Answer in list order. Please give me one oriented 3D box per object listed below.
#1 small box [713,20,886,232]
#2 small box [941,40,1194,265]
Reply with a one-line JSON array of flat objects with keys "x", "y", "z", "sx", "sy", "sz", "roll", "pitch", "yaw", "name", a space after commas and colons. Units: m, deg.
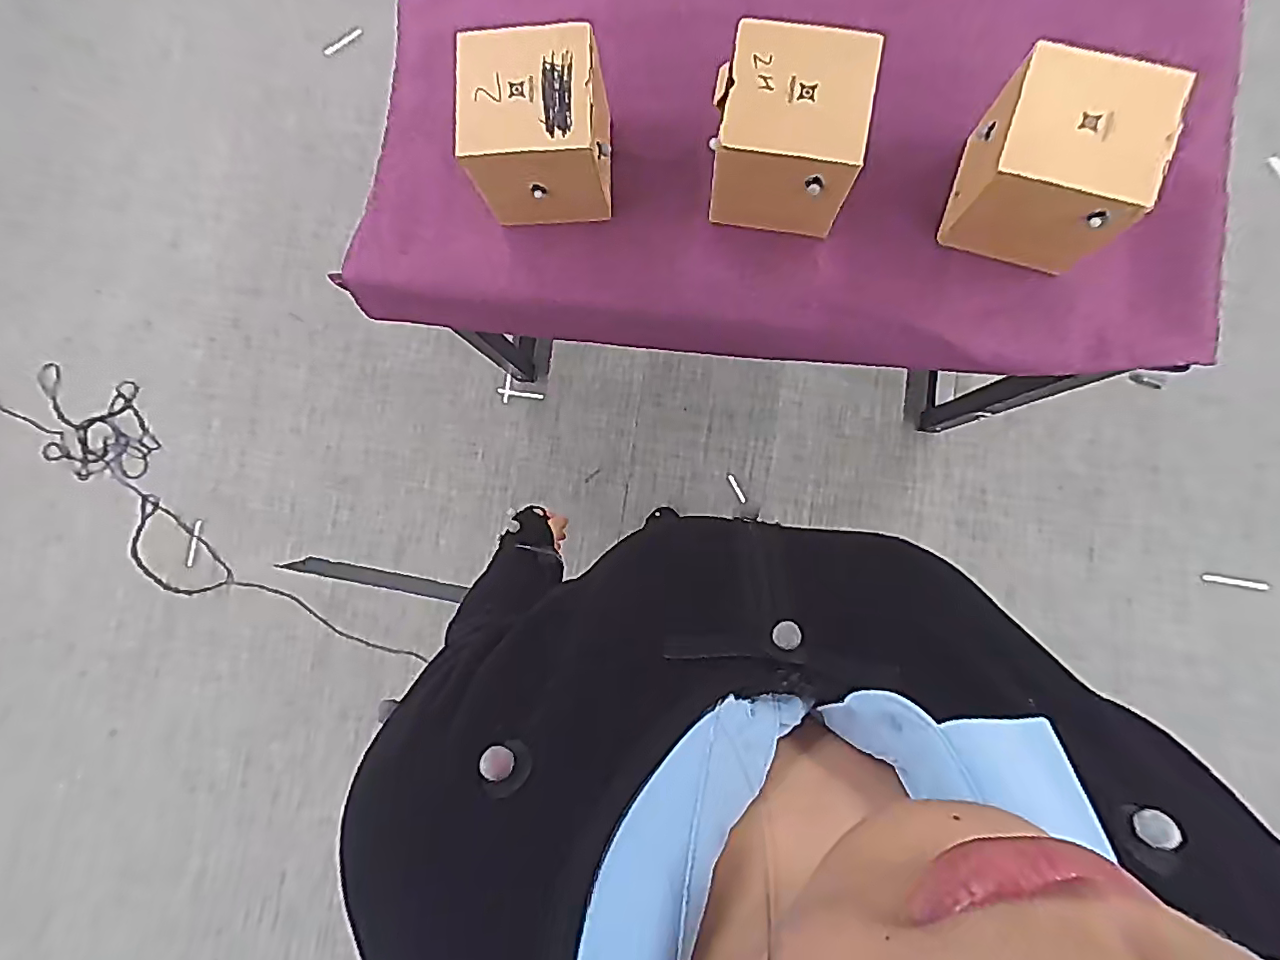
[{"x": 0.200, "y": -0.457, "z": 0.724, "sx": 0.179, "sy": 0.176, "sz": 0.168, "roll": 10, "pitch": 87, "yaw": 6, "name": "small box"}, {"x": 0.524, "y": -0.402, "z": 0.692, "sx": 0.179, "sy": 0.176, "sz": 0.168, "roll": 18, "pitch": 88, "yaw": 6, "name": "small box"}]
